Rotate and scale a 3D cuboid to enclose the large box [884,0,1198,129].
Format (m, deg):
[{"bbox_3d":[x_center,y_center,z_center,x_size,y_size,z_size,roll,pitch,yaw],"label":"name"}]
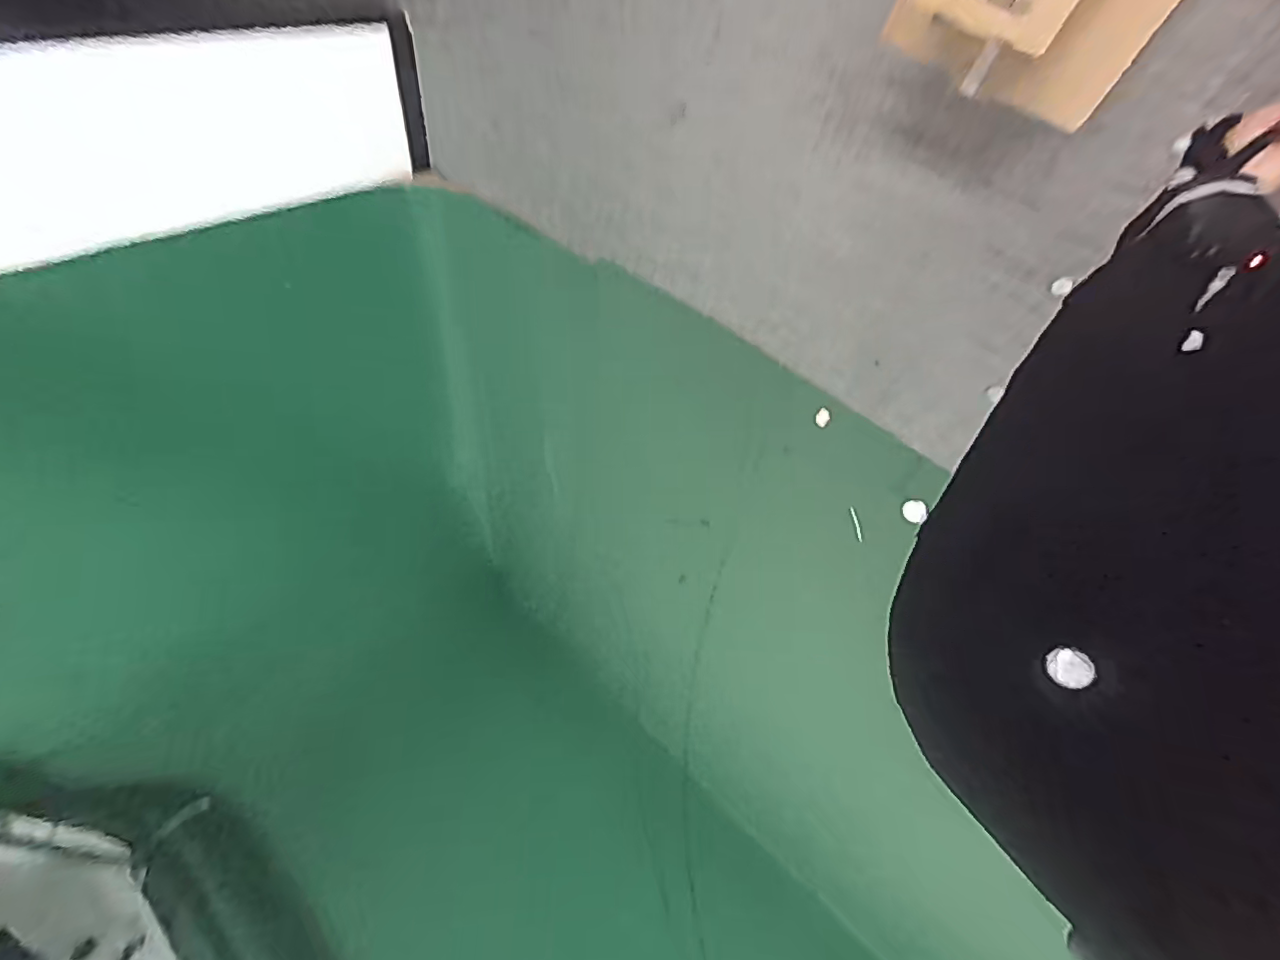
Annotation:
[{"bbox_3d":[0.604,-0.744,0.689,0.320,0.320,0.408,40,143,16],"label":"large box"}]
